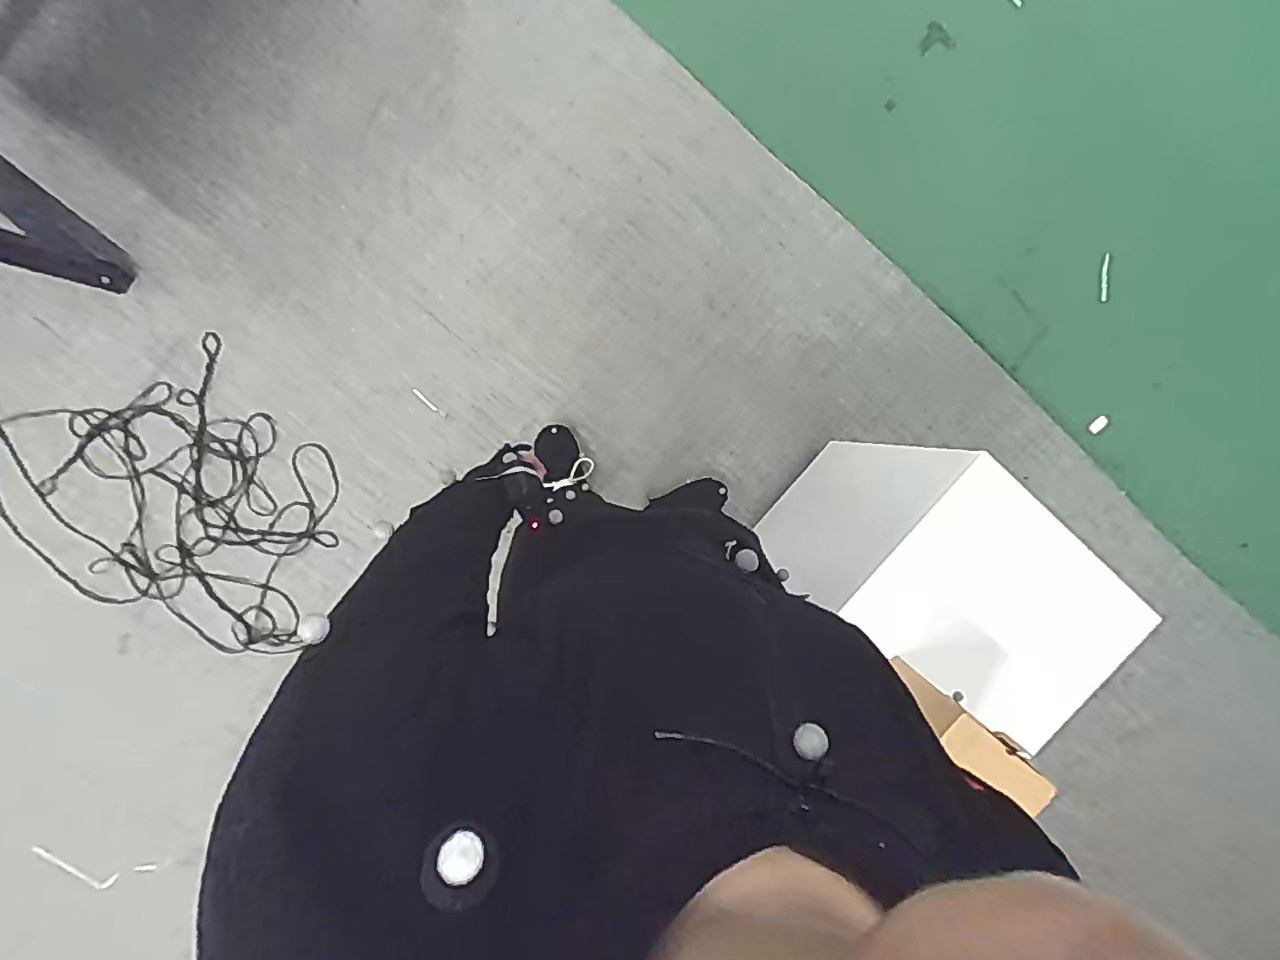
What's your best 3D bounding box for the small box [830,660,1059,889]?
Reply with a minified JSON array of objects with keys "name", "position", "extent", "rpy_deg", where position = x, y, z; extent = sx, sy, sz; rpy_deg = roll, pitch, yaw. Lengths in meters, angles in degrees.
[{"name":"small box","position":[0.395,0.382,0.736],"extent":[0.168,0.176,0.179],"rpy_deg":[39,93,-5]}]
